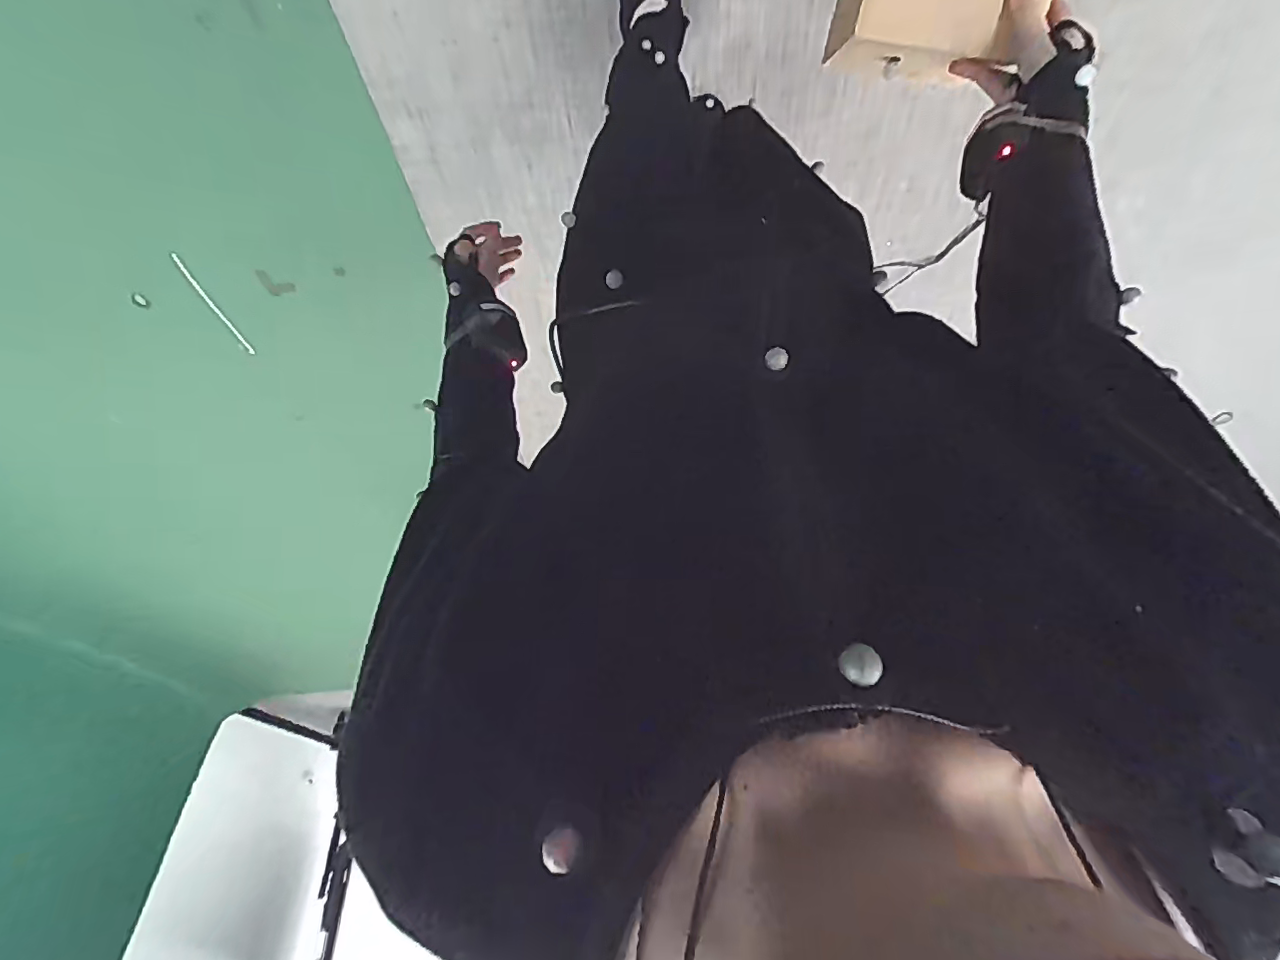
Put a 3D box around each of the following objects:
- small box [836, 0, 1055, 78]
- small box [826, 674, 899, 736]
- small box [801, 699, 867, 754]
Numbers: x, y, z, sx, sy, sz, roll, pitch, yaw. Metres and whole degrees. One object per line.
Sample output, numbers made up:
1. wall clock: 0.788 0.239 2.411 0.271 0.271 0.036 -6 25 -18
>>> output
1. small box: 0.304 -0.517 0.526 0.168 0.176 0.179 10 119 3
2. small box: 0.775 0.791 1.904 0.168 0.176 0.179 1 143 -4
3. small box: 0.768 0.985 2.159 0.179 0.176 0.168 5 141 -7
